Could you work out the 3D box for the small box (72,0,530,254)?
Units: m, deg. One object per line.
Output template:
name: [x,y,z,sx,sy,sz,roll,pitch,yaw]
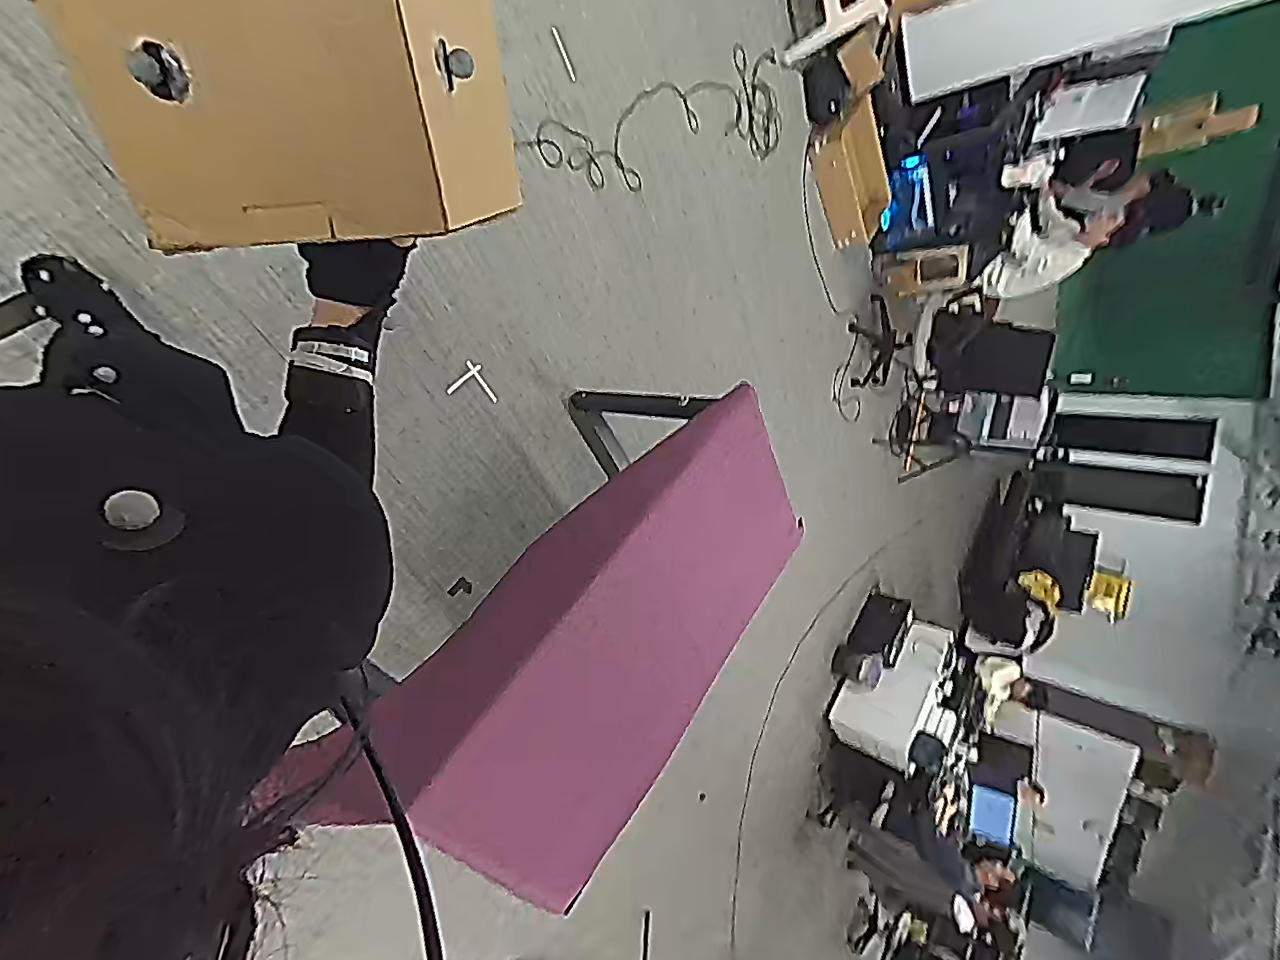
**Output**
small box: [-0.172,-0.236,0.314,0.179,0.168,0.176,-85,174,-59]
